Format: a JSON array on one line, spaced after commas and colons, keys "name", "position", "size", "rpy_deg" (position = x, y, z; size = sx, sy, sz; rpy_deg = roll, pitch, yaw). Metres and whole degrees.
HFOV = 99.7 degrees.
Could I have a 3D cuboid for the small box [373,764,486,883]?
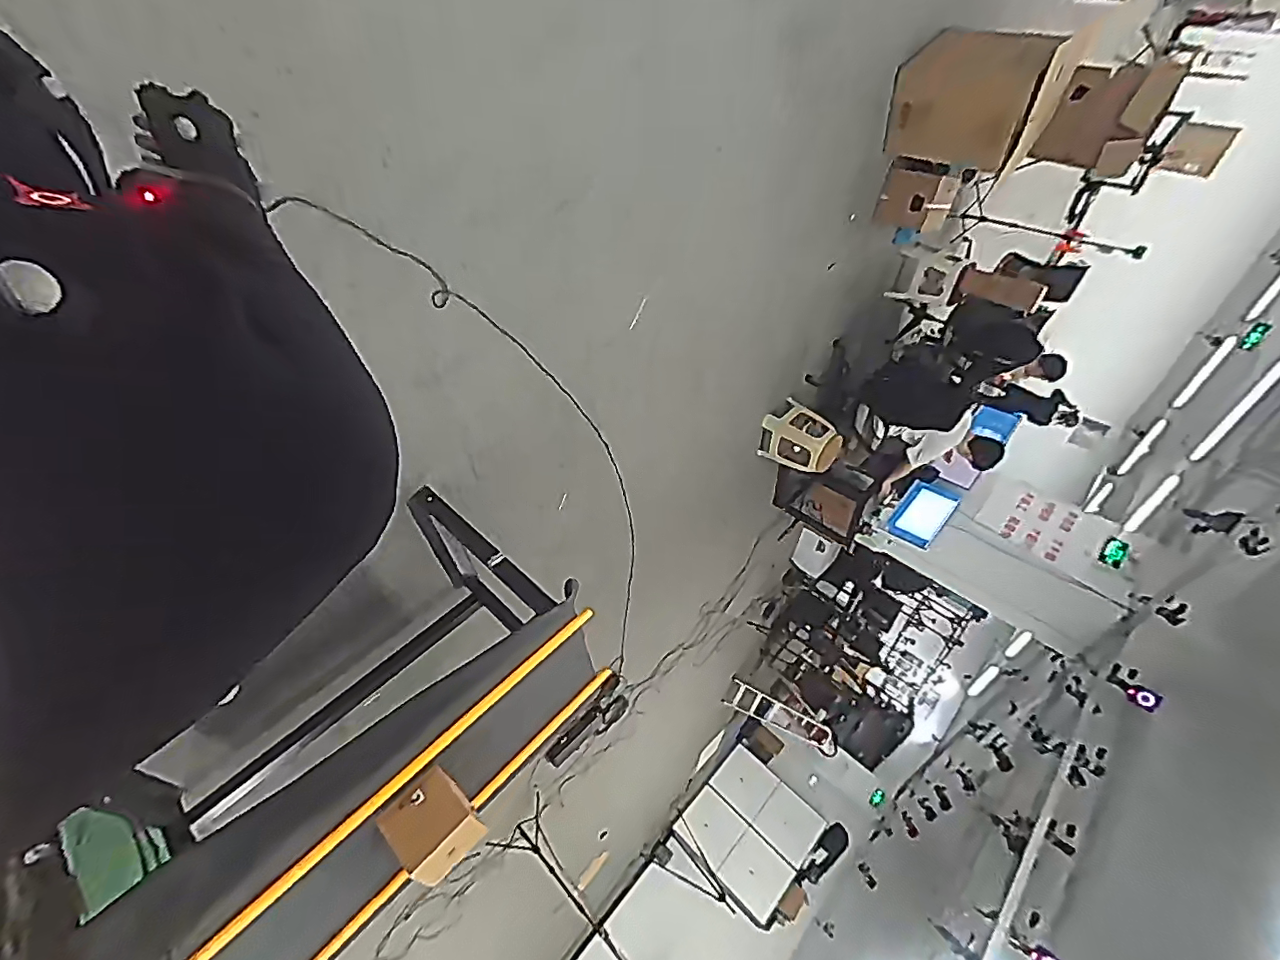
[{"name": "small box", "position": [-0.513, 0.836, 1.324], "size": [0.168, 0.176, 0.179], "rpy_deg": [-40, 145, -28]}]
